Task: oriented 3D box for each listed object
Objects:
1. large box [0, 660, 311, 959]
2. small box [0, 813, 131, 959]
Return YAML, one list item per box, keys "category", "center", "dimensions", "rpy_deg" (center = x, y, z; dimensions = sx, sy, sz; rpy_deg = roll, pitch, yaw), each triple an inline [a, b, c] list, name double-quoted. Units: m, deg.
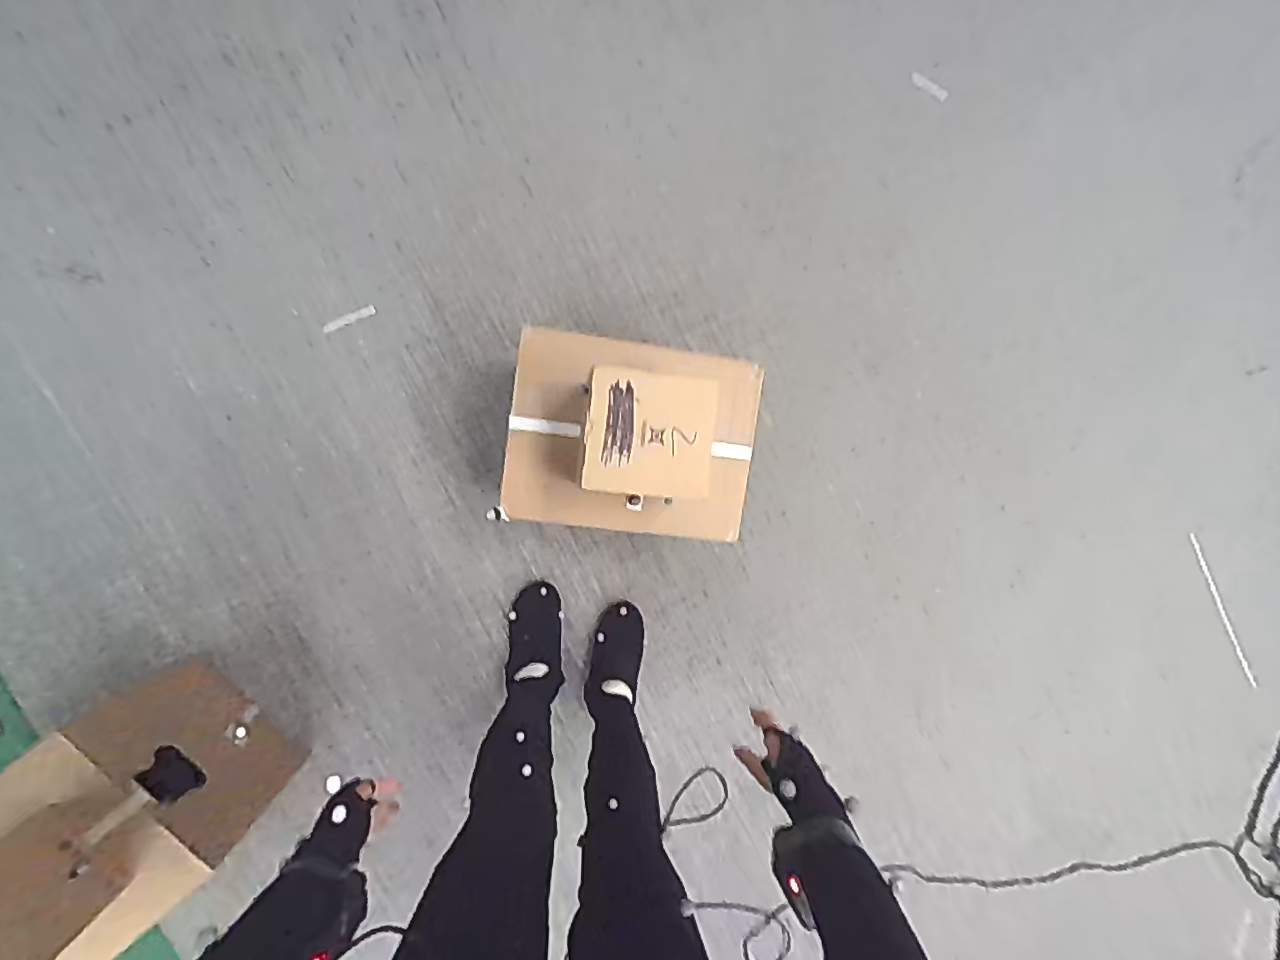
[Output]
- category: "large box"
  center: [-0.895, 0.600, 0.936]
  dimensions: [0.408, 0.320, 0.320]
  rpy_deg: [-41, 95, -4]
- category: "small box"
  center: [-0.839, 0.588, 0.697]
  dimensions: [0.179, 0.176, 0.168]
  rpy_deg: [-38, 98, -6]
